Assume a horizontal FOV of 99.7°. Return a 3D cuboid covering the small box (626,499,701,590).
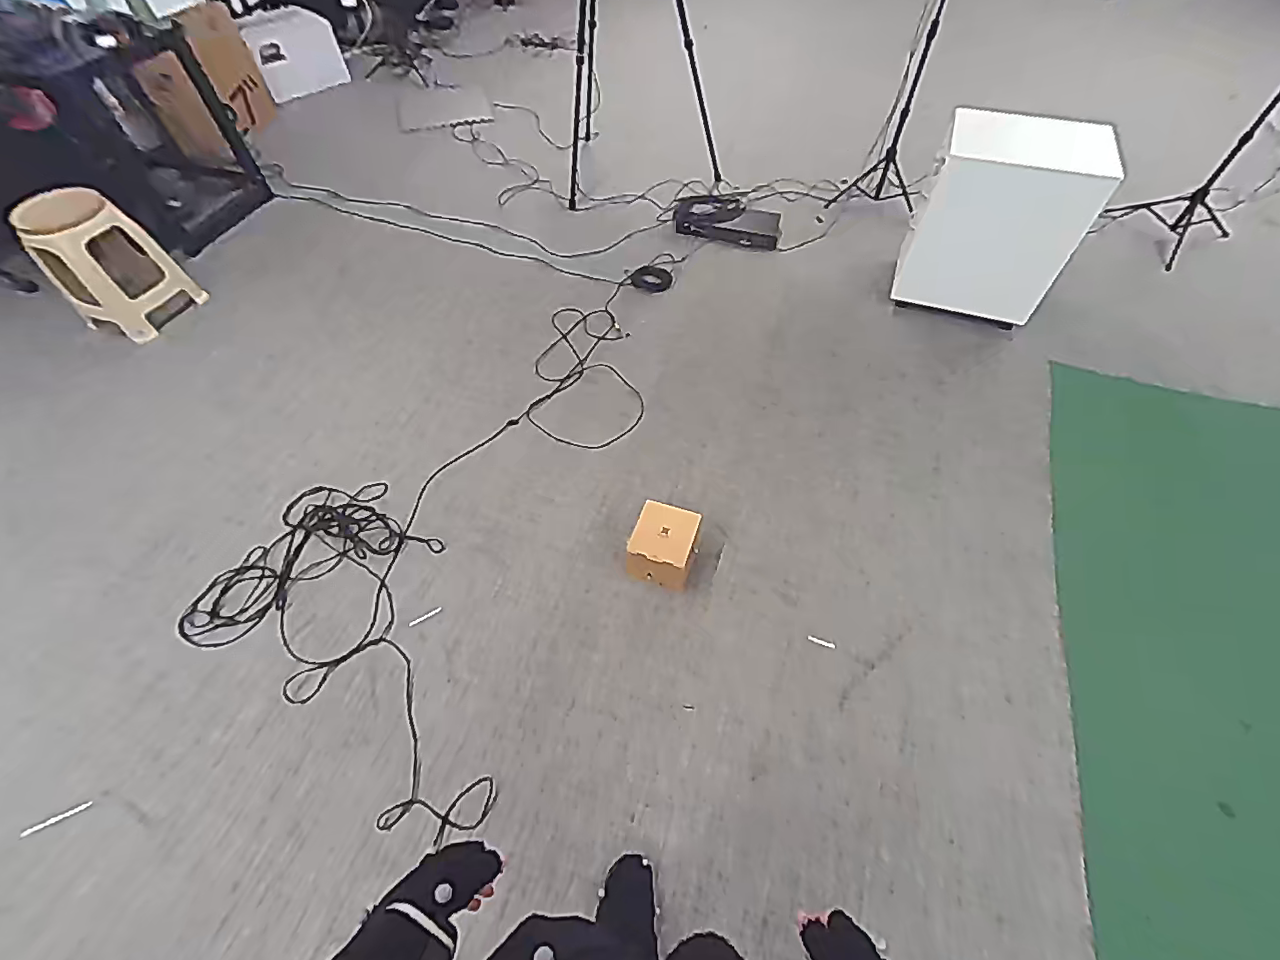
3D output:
[{"bbox_3d":[0.066,0.186,1.546,0.168,0.176,0.179,15,56,13],"label":"small box"}]
